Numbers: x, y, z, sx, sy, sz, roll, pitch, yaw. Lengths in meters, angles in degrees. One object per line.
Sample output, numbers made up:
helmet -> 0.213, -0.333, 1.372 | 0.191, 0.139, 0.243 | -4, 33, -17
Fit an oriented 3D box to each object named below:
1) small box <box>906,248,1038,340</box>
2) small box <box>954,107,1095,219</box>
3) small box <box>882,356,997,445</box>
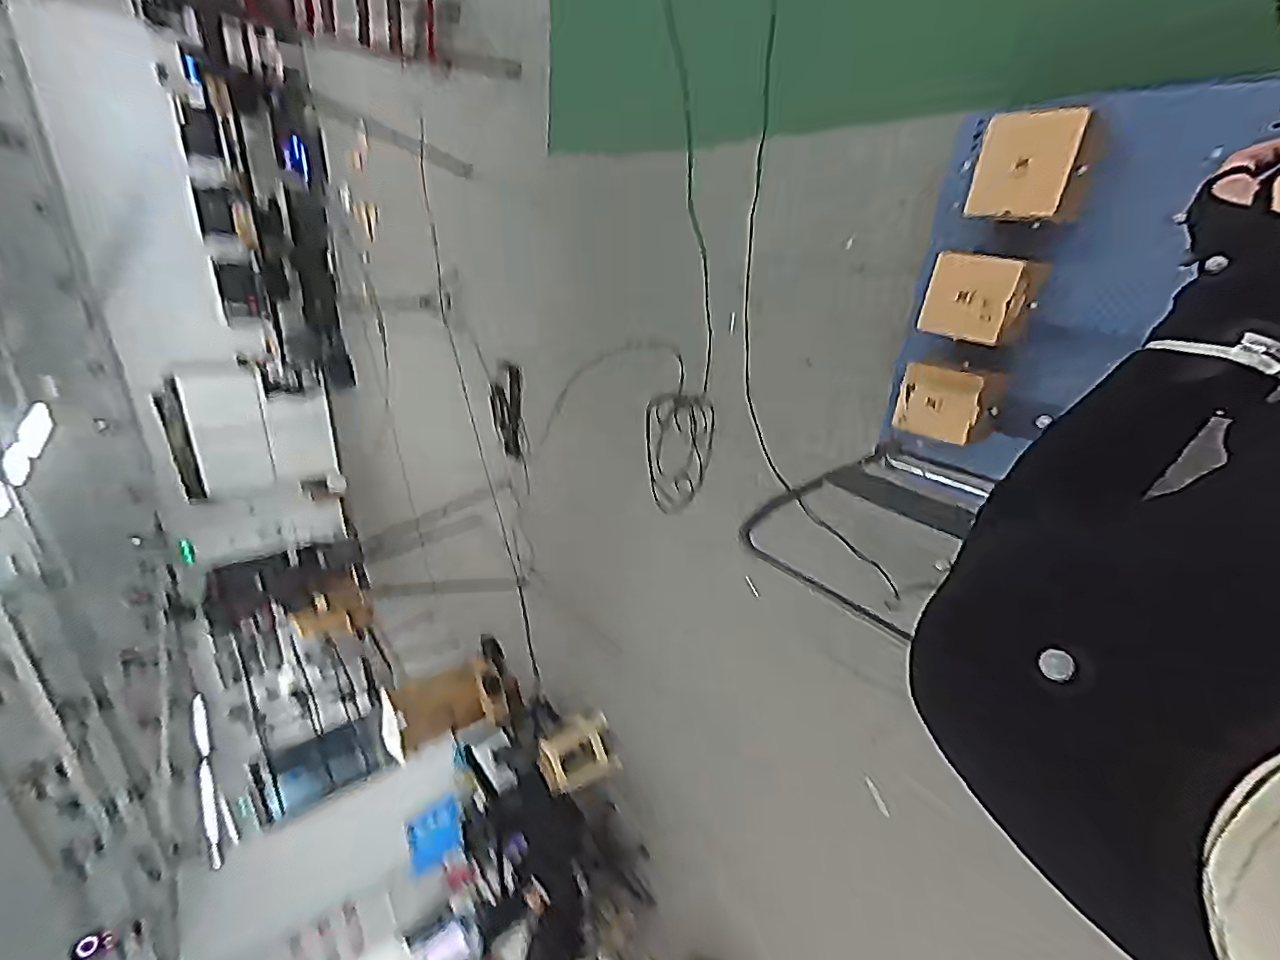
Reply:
small box -> 0.741, -0.417, 1.210 | 0.179, 0.176, 0.168 | 31, 126, 41
small box -> 0.776, -0.630, 1.093 | 0.168, 0.176, 0.179 | 29, 124, 42
small box -> 0.724, -0.201, 1.305 | 0.179, 0.176, 0.168 | 29, 123, 42
